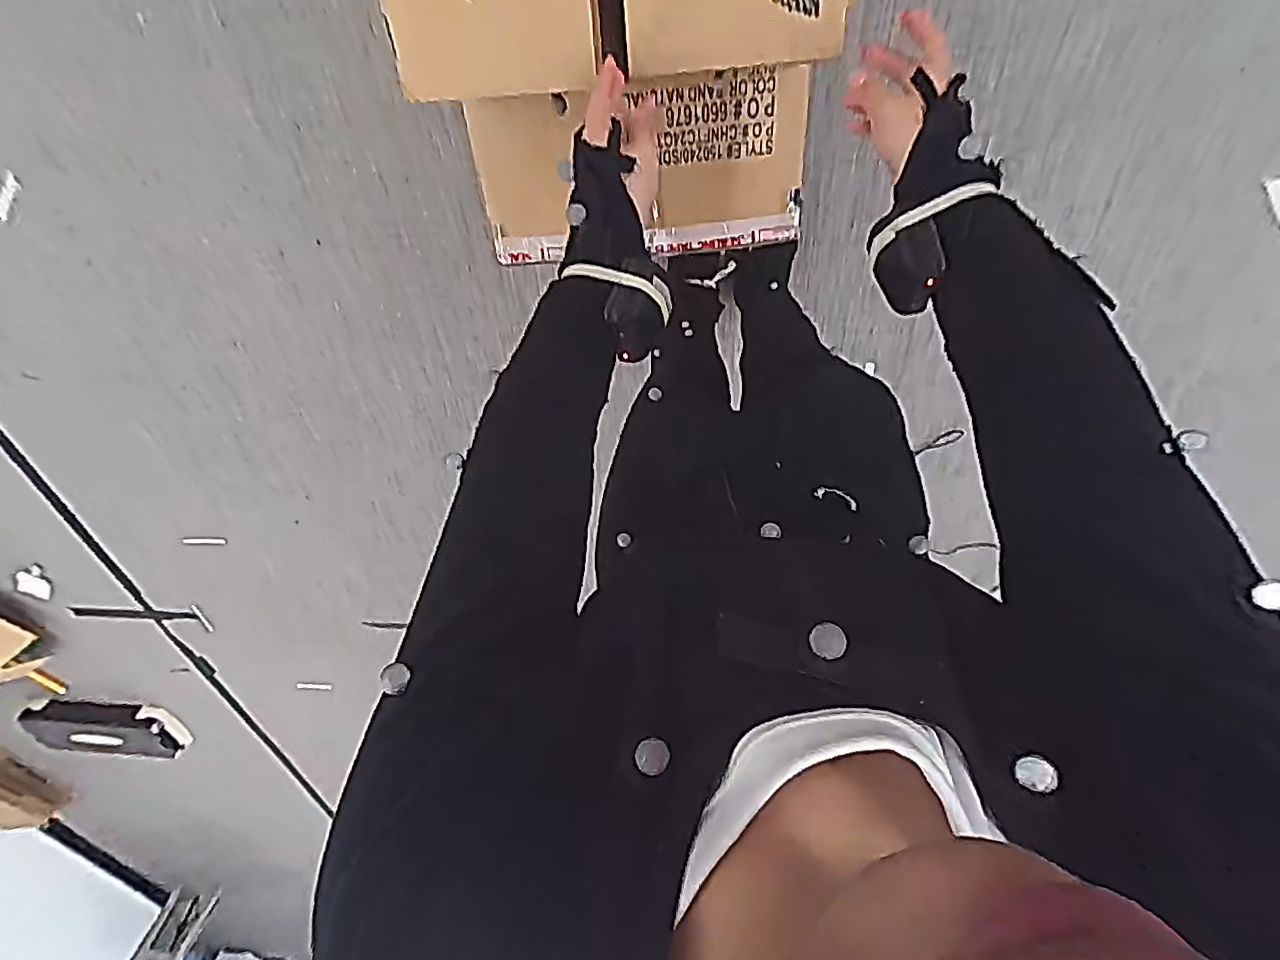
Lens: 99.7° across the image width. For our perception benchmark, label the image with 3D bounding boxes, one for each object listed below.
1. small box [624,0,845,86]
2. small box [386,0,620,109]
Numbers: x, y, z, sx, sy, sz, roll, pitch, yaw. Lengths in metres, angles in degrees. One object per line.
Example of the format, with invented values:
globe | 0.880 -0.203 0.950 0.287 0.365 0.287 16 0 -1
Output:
small box | 0.075 -0.453 0.468 0.179 0.176 0.168 -1 127 6
small box | -0.114 -0.445 0.491 0.179 0.176 0.168 1 126 8
